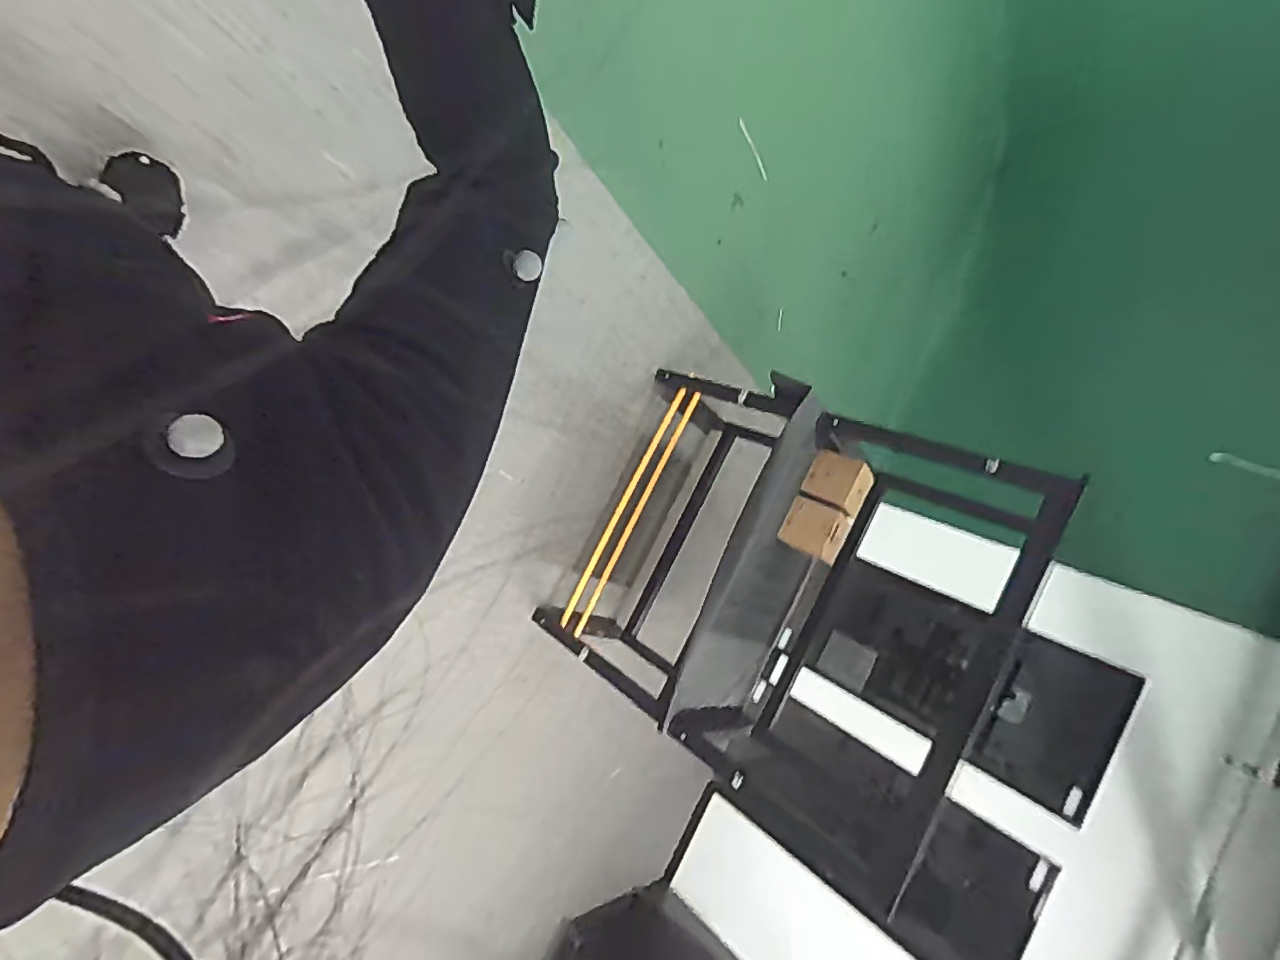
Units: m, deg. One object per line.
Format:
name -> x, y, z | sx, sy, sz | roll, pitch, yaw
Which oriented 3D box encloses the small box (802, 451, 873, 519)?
small box -> 0.699, 0.014, 1.920 | 0.179, 0.176, 0.168 | 34, 84, -52
